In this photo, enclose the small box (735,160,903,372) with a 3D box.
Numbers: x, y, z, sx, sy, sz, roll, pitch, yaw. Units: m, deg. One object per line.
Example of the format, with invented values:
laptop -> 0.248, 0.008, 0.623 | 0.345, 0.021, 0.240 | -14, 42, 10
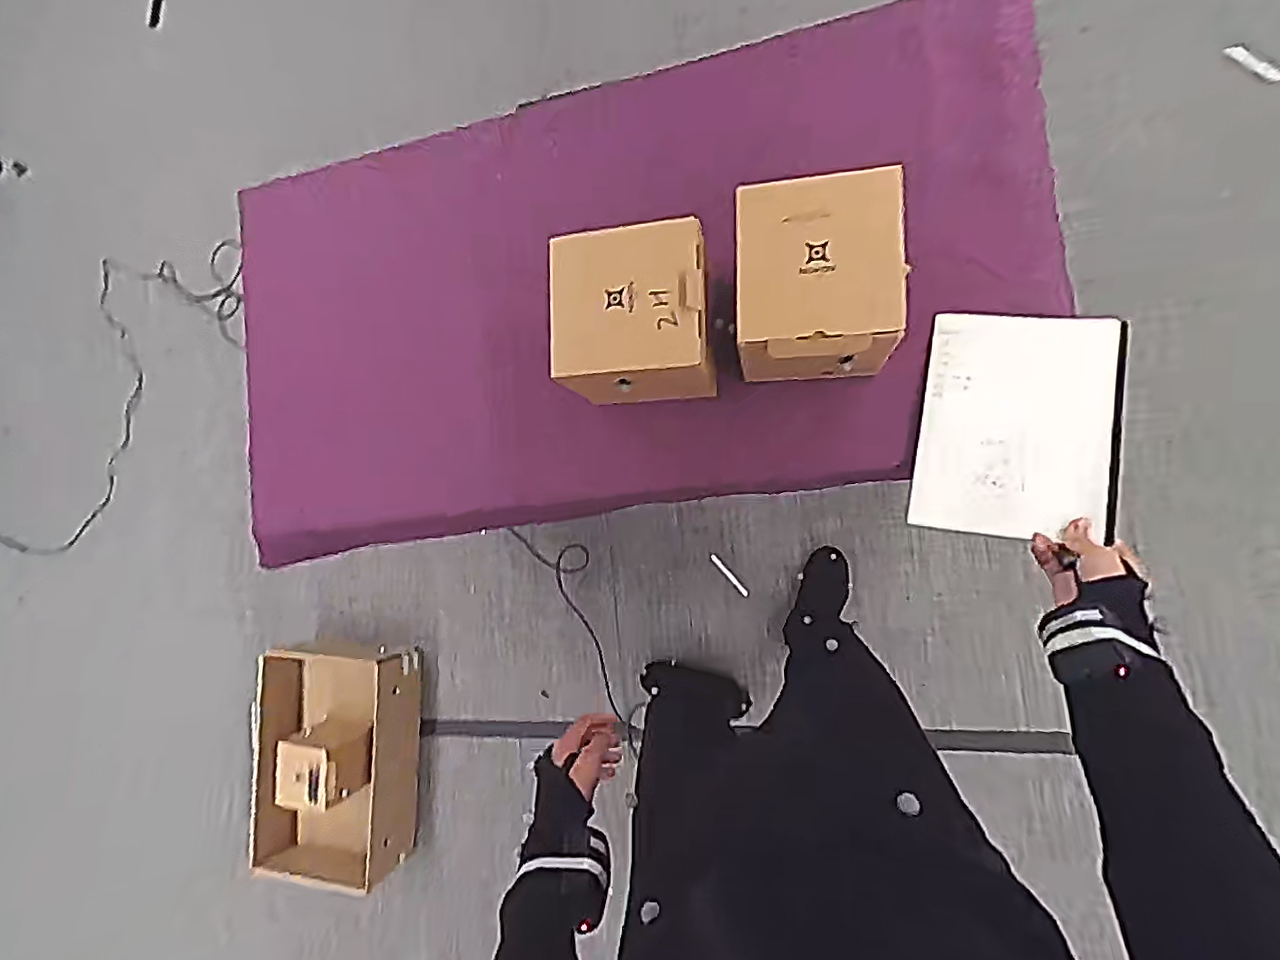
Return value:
small box -> 0.200, -0.228, 0.629 | 0.168, 0.176, 0.179 | 0, 86, 14
